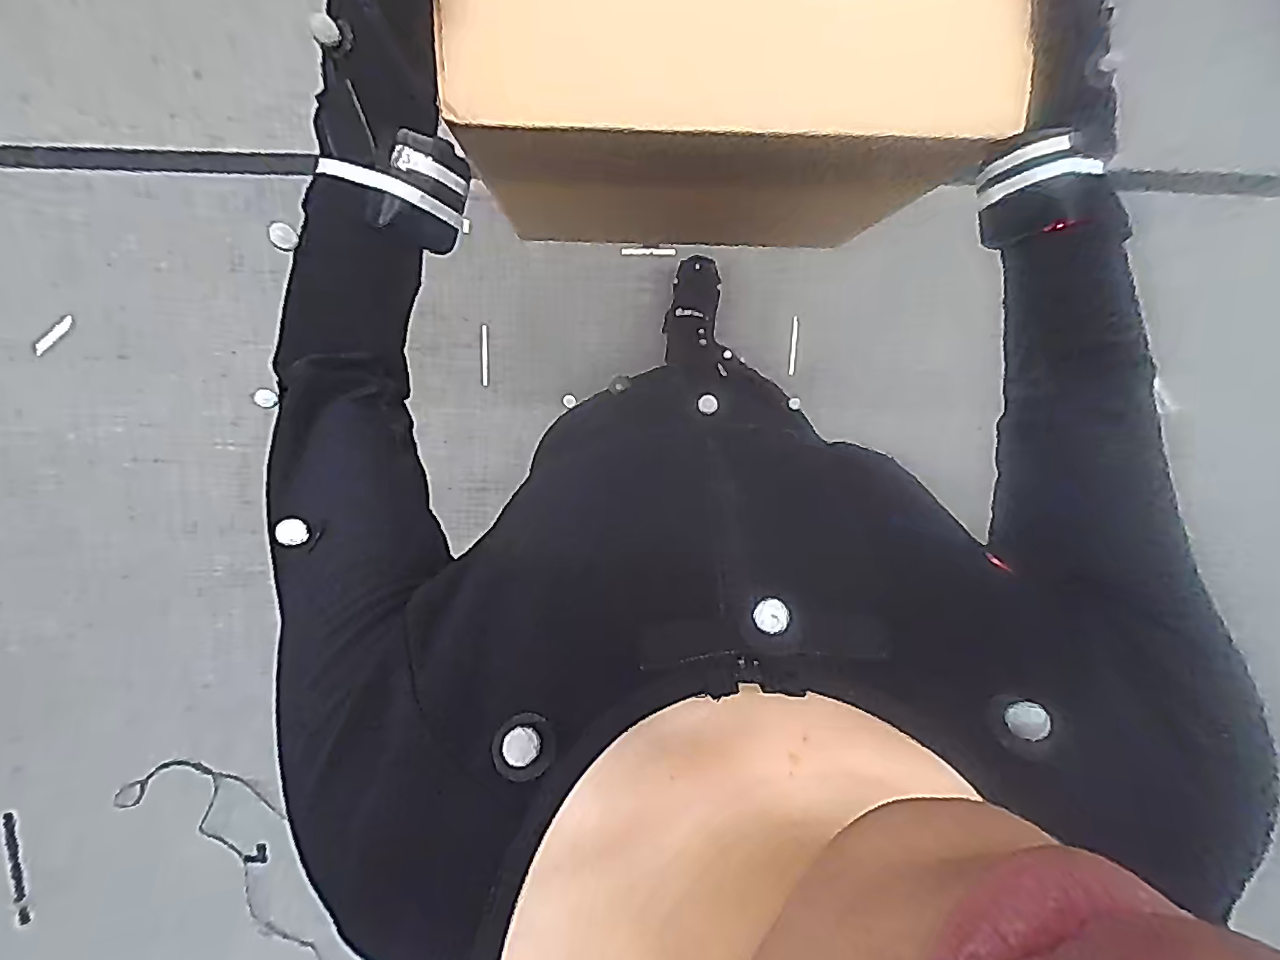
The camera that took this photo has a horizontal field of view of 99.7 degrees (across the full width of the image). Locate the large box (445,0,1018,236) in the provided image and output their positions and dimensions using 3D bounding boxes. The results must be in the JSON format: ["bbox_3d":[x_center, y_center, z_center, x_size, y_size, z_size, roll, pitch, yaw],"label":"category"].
[{"bbox_3d":[0.056,-0.431,0.501,0.408,0.320,0.320,0,100,-3],"label":"large box"}]
